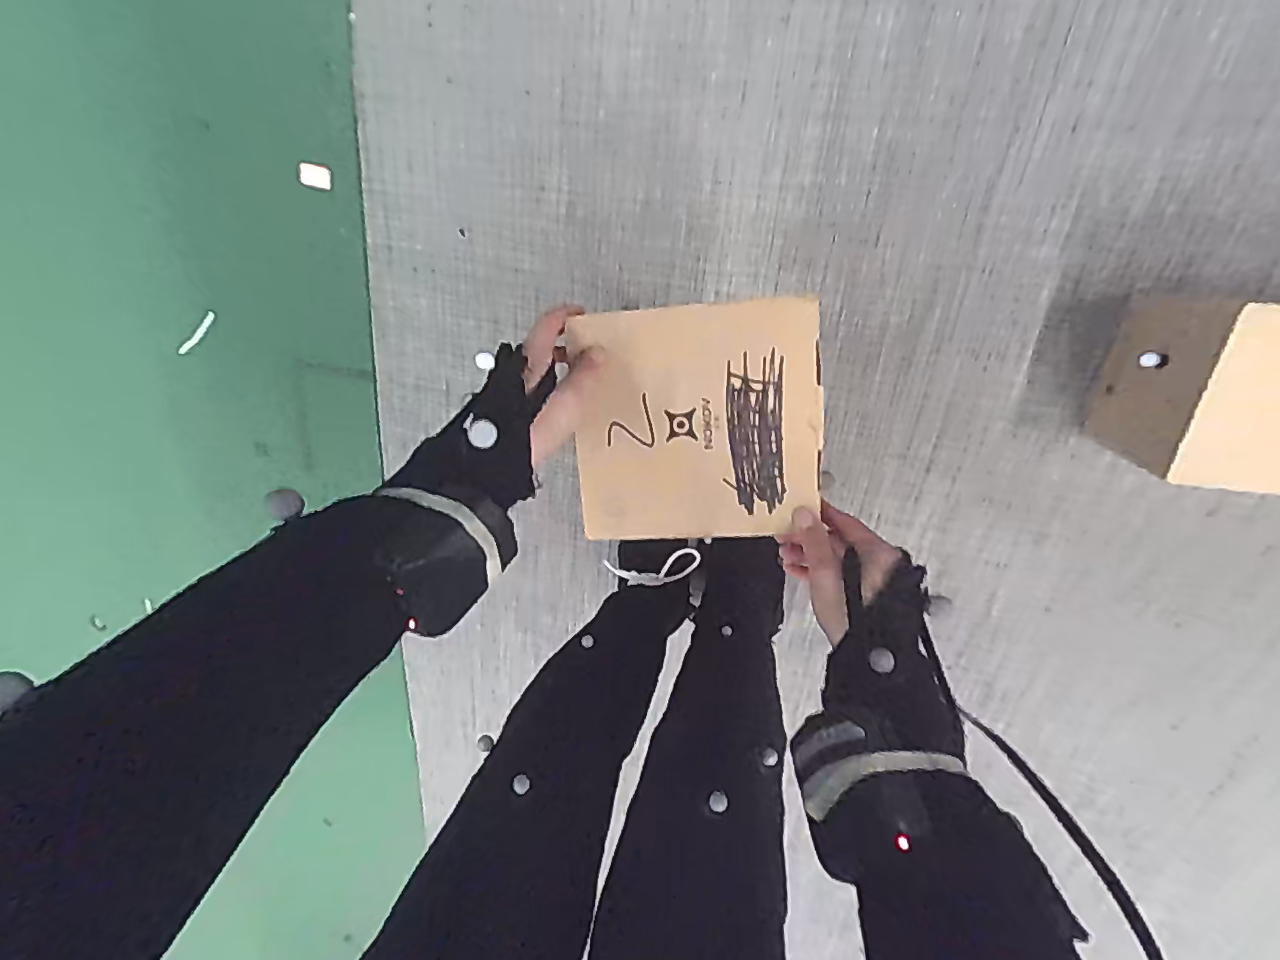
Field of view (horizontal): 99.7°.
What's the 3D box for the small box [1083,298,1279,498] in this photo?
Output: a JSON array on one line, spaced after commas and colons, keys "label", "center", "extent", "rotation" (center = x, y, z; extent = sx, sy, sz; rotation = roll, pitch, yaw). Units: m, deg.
[{"label": "small box", "center": [0.595, -0.087, 0.534], "extent": [0.179, 0.176, 0.168], "rotation": [7, 112, 10]}]
